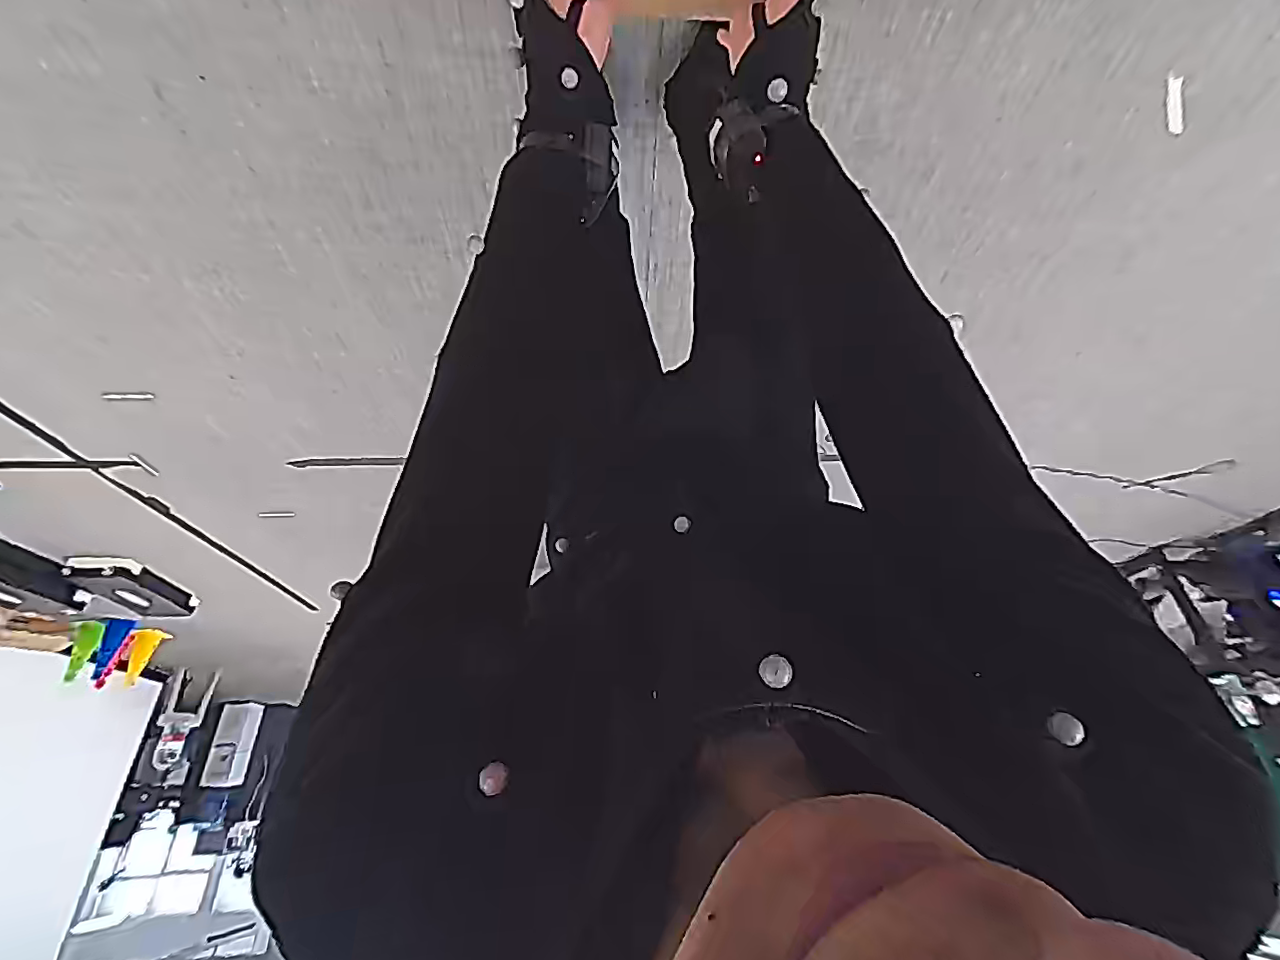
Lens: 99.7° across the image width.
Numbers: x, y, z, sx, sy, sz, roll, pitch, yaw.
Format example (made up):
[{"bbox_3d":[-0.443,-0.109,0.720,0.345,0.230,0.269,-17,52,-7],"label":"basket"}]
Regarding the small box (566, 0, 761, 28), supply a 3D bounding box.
[{"bbox_3d":[0.022,-0.527,0.462,0.179,0.176,0.168,0,148,-6],"label":"small box"}]
